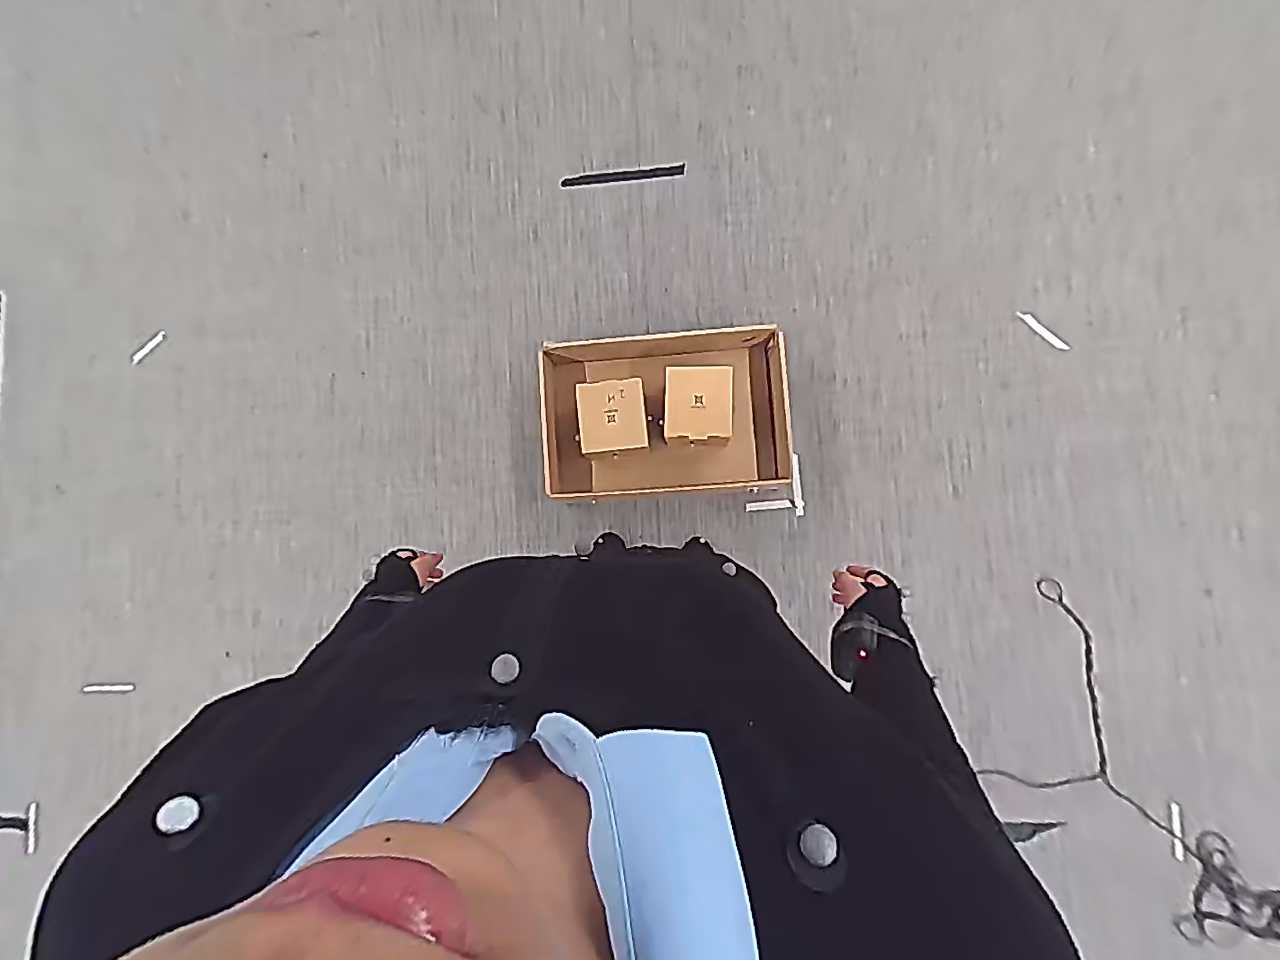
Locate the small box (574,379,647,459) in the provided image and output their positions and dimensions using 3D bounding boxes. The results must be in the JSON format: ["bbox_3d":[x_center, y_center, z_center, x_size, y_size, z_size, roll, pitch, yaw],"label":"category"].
[{"bbox_3d":[-0.072,-0.151,1.404,0.168,0.176,0.179,-6,86,1],"label":"small box"}]

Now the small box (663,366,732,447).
[{"bbox_3d":[0.144,-0.185,1.396,0.168,0.176,0.179,1,87,4],"label":"small box"}]
